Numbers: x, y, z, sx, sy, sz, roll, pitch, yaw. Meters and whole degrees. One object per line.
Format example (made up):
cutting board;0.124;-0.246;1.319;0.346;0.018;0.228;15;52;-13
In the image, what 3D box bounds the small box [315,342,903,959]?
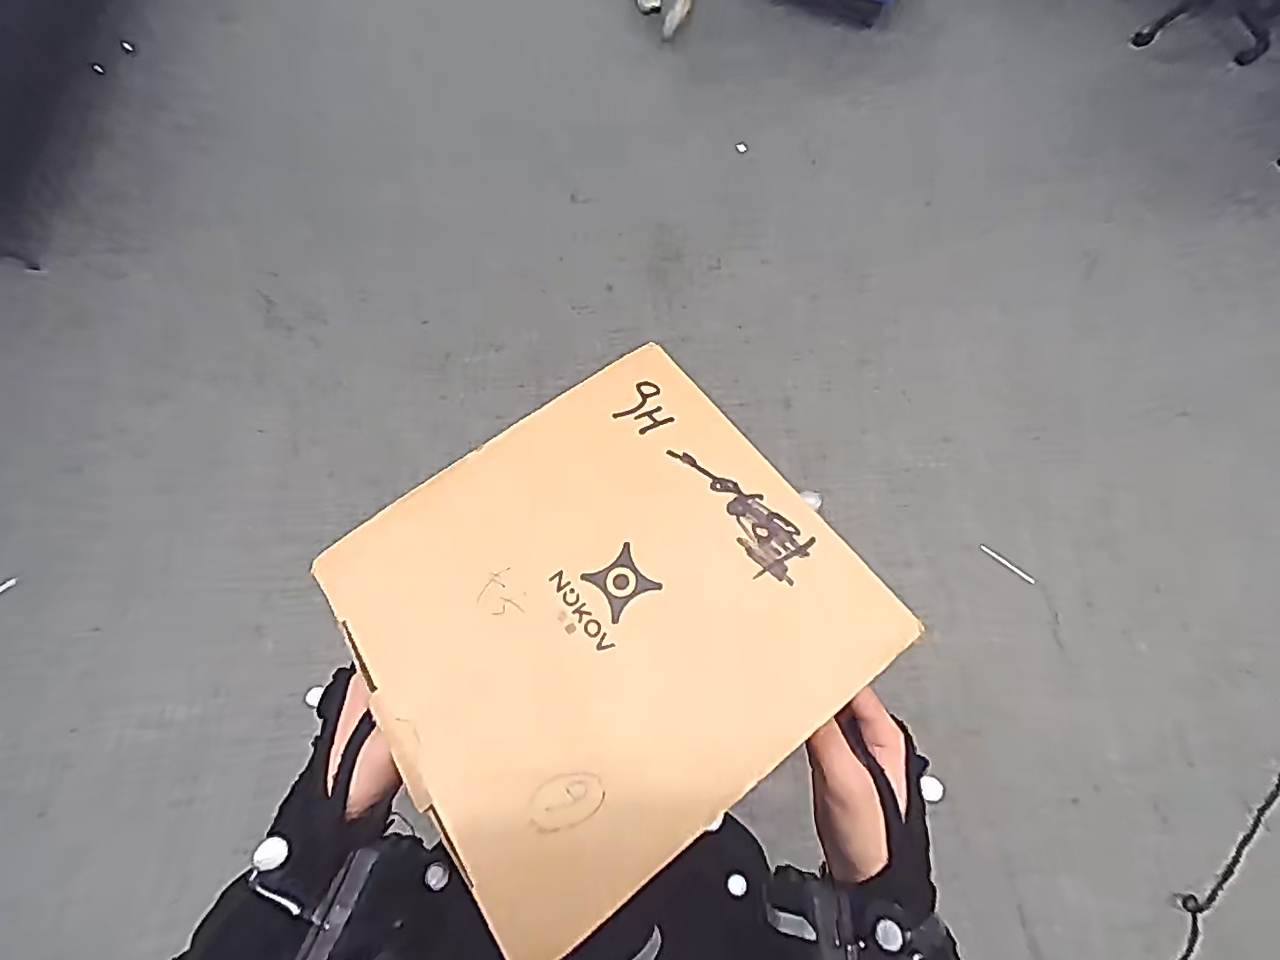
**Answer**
small box;-0.012;0.073;0.280;0.179;0.176;0.168;-36;69;-11
